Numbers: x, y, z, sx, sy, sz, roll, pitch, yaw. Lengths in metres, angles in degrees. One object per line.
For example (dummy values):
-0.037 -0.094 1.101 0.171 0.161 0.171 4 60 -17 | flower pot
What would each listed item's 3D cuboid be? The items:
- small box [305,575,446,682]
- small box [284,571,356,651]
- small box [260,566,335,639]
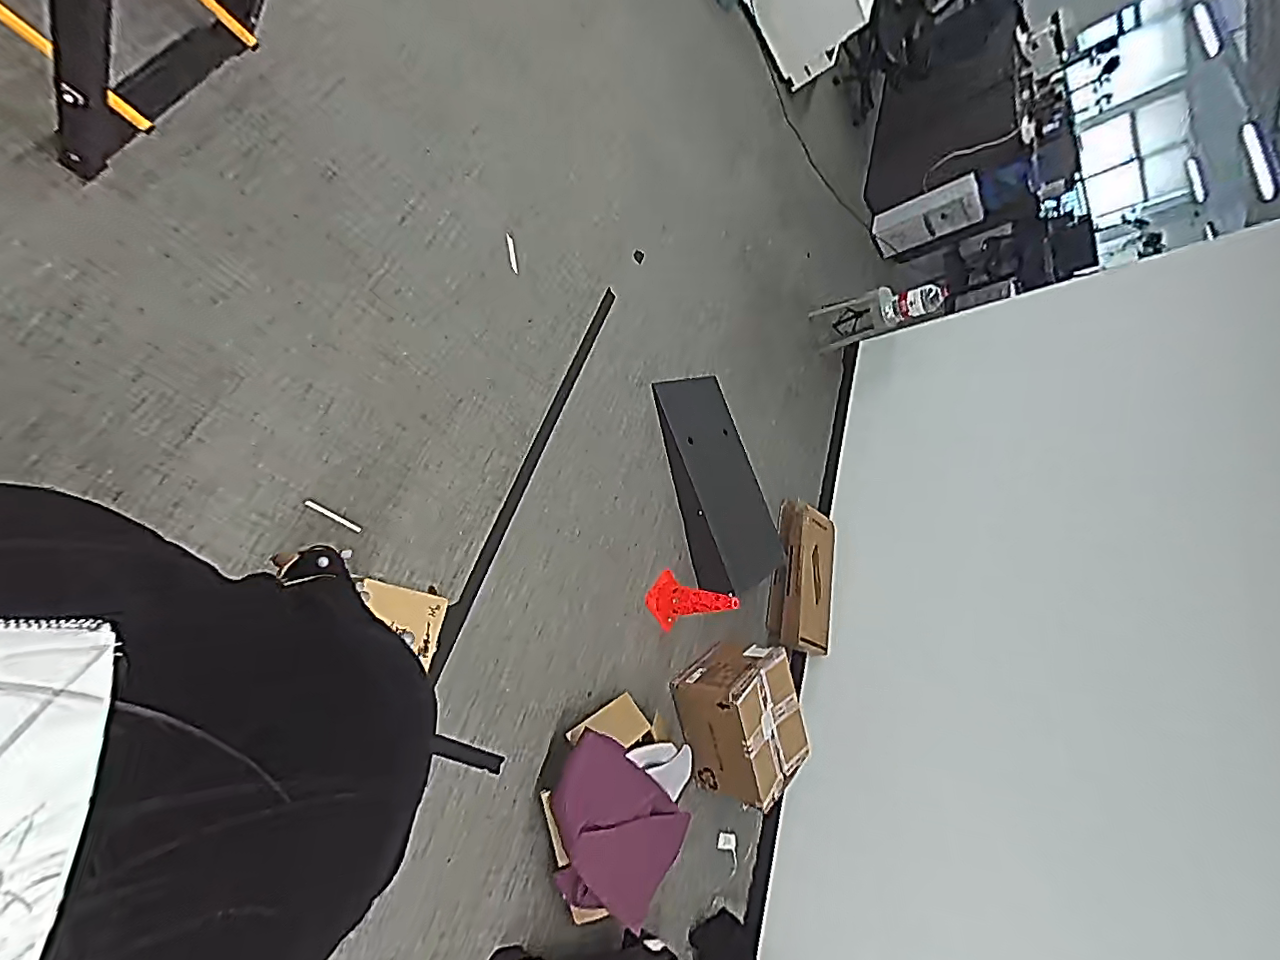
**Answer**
-0.523 0.292 1.066 0.179 0.176 0.168 30 62 -39 | small box
-0.635 0.303 1.186 0.179 0.176 0.168 32 60 -39 | small box
-0.761 0.312 1.293 0.179 0.176 0.168 36 58 -35 | small box
